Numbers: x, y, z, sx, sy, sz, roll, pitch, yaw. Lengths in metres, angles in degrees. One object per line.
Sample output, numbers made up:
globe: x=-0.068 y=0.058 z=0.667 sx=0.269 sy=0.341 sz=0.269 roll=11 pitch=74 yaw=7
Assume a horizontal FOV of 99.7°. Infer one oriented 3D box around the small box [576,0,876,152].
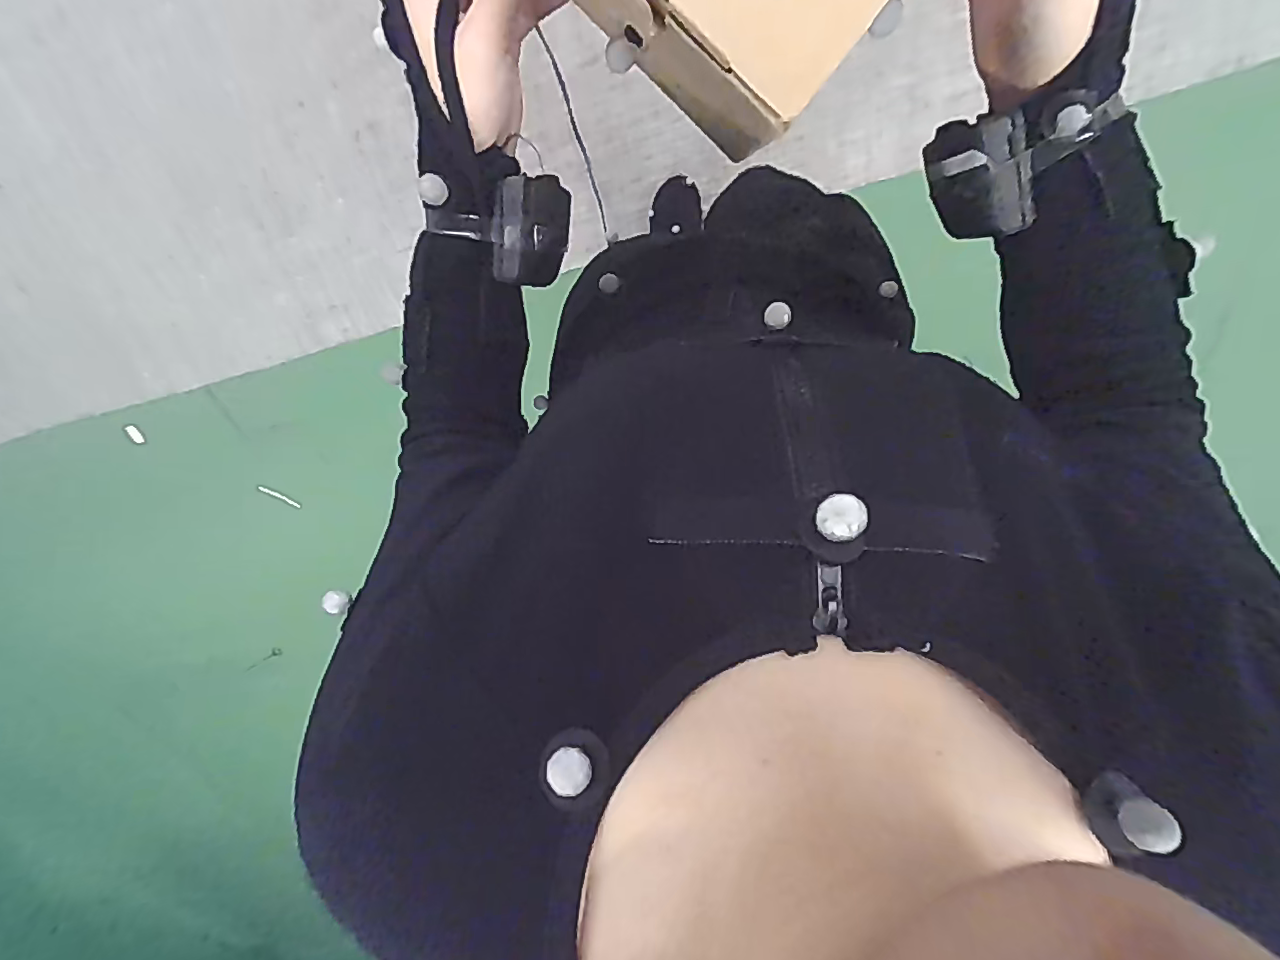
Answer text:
small box: x=0.050 y=-0.279 z=0.237 sx=0.168 sy=0.176 sz=0.179 roll=37 pitch=114 yaw=-14
